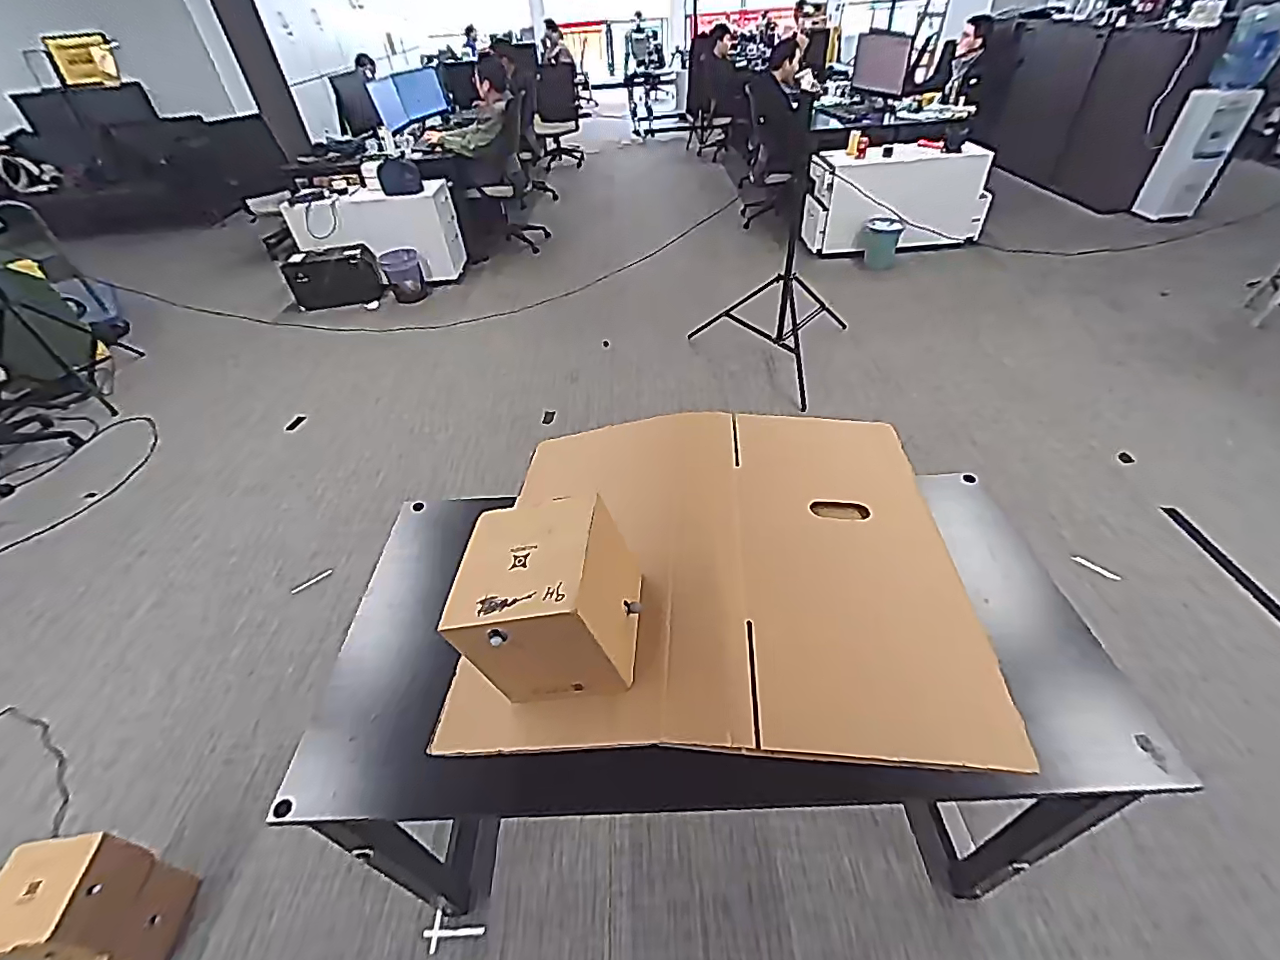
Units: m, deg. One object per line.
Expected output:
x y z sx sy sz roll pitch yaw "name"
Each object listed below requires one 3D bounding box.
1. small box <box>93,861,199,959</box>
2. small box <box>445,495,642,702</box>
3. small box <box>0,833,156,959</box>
-1.119 0.963 1.178 0.168 0.176 0.179 -6 42 -1 "small box"
-0.102 0.148 0.670 0.168 0.176 0.179 -12 39 16 "small box"
-1.131 0.838 1.074 0.168 0.176 0.179 -7 41 -4 "small box"
